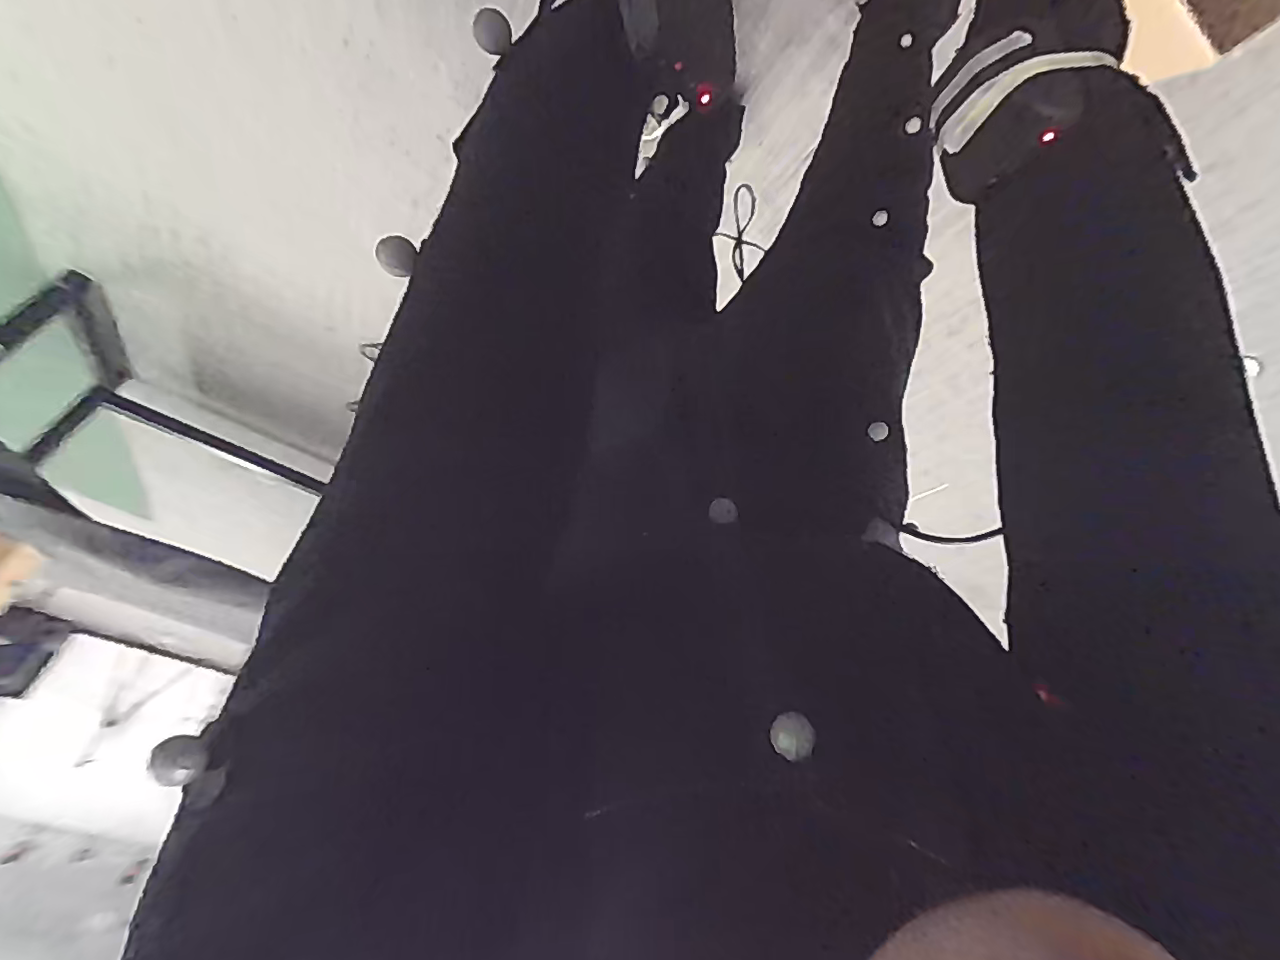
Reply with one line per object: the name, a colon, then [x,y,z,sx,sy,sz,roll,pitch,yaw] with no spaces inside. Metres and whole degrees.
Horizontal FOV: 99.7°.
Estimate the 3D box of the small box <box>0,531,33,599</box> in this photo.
small box: [-1.680,0.202,1.340,0.179,0.176,0.168,30,144,-22]
